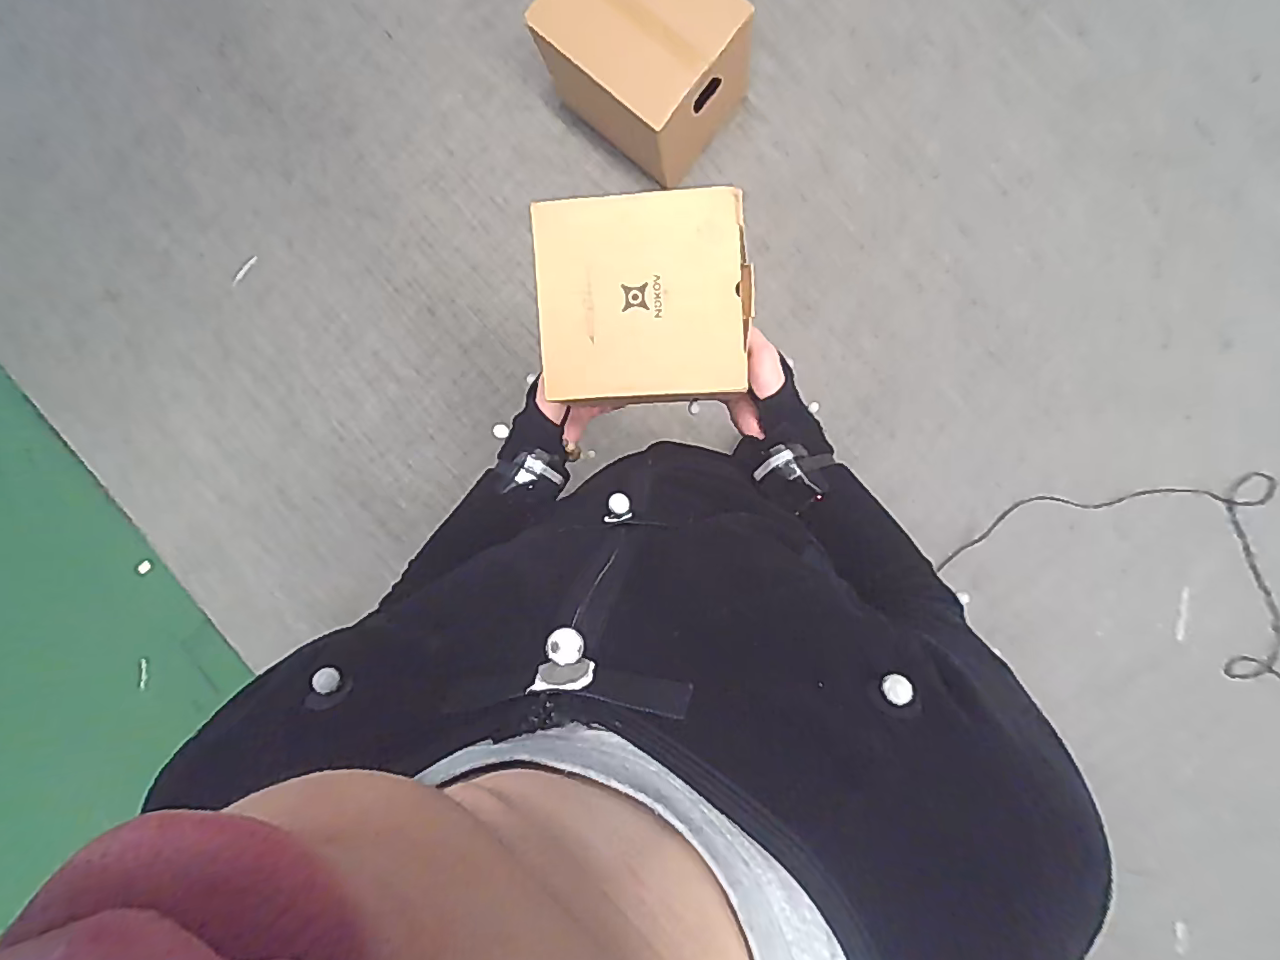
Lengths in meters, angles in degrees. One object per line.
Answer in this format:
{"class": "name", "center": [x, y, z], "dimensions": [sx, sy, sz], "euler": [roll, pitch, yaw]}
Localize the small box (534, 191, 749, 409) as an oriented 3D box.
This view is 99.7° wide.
{"class": "small box", "center": [0.007, -0.158, 0.531], "dimensions": [0.179, 0.176, 0.168], "euler": [-3, 95, 6]}
